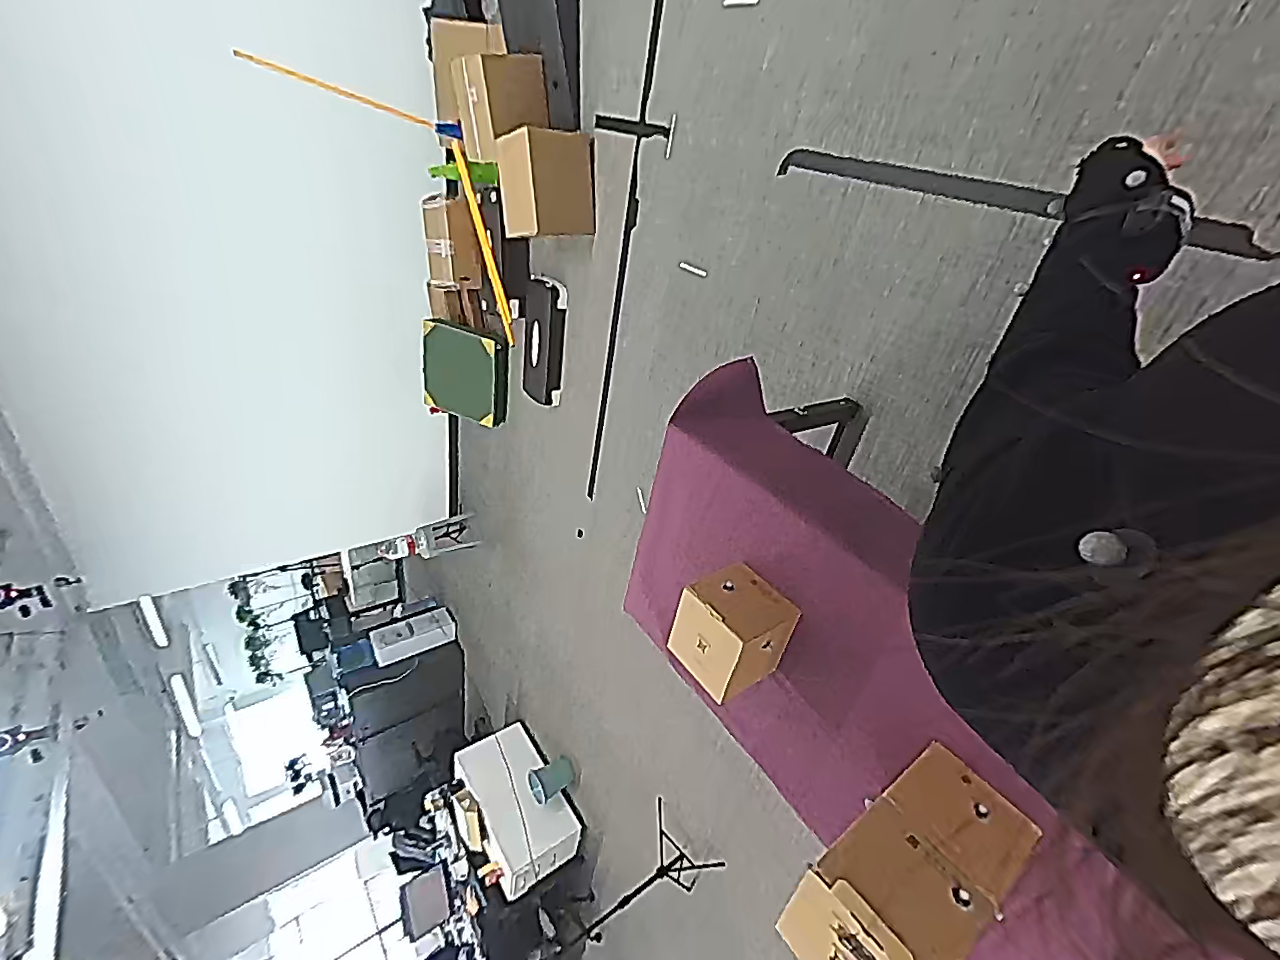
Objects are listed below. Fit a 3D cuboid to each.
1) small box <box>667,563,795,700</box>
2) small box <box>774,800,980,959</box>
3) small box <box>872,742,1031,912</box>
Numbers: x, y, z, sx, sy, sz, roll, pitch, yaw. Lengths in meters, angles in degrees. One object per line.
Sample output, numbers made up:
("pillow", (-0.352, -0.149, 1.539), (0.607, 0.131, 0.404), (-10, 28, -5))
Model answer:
("small box", (0.183, 0.294, 1.085), (0.168, 0.176, 0.179), (41, 132, 39))
("small box", (0.316, 0.578, 0.723), (0.168, 0.176, 0.179), (39, 131, 40))
("small box", (0.445, 0.545, 0.819), (0.168, 0.176, 0.179), (40, 131, 39))
